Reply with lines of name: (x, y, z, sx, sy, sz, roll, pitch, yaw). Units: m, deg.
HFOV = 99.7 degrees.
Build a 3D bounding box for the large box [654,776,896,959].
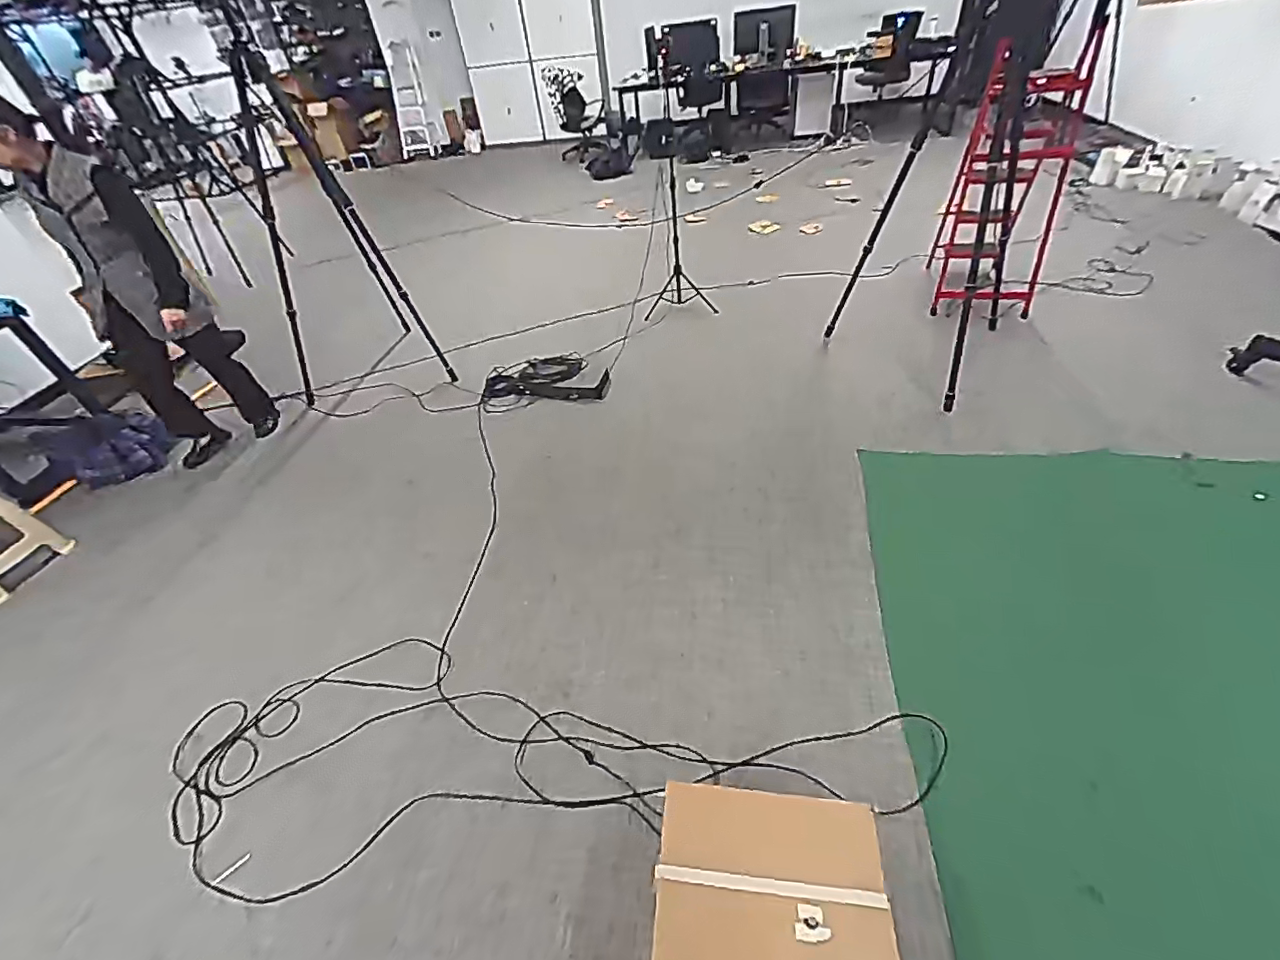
large box: (0.242, 0.826, 1.074, 0.408, 0.320, 0.320, 2, 44, 8)
